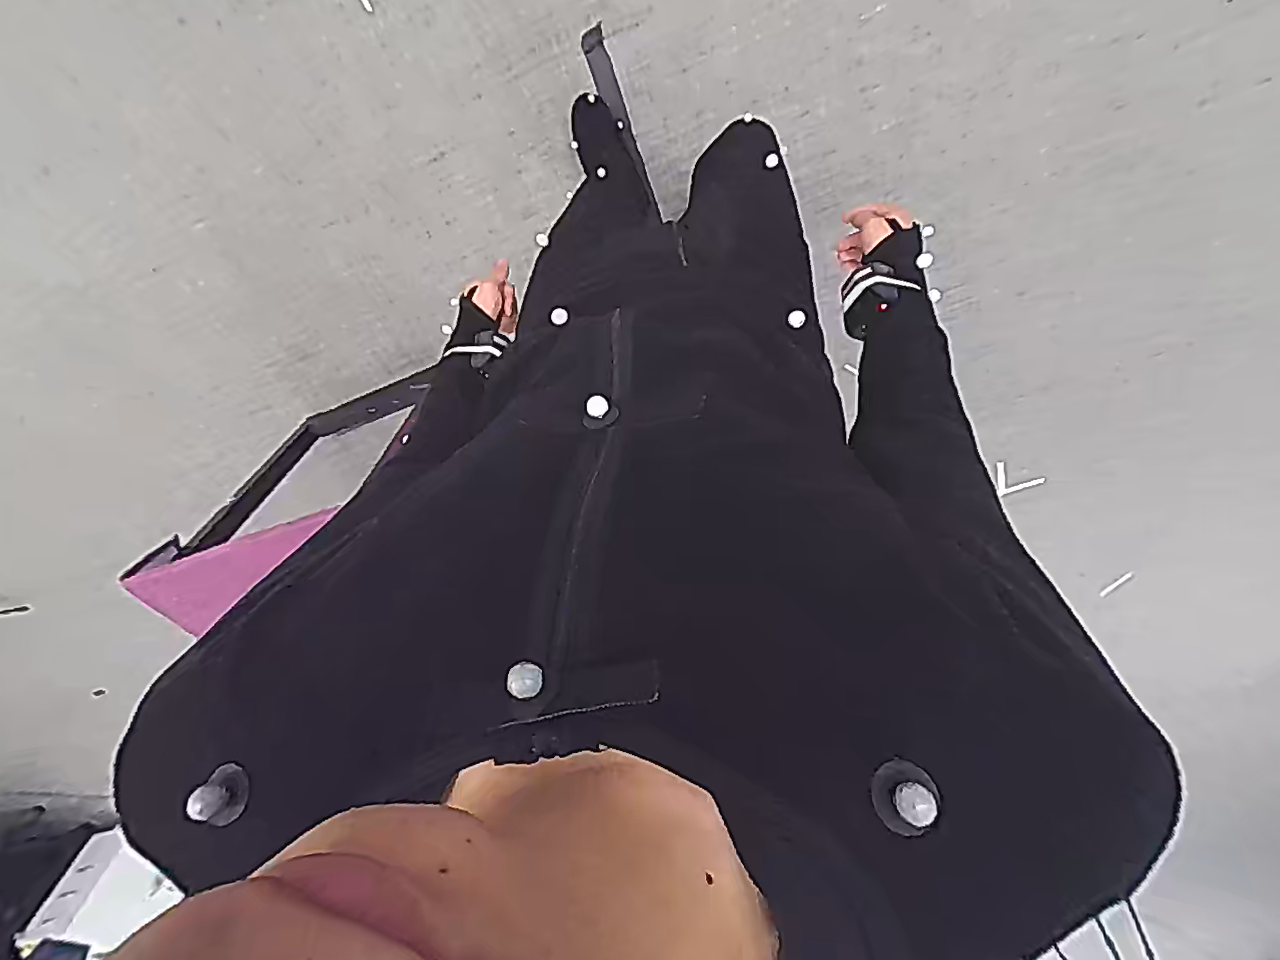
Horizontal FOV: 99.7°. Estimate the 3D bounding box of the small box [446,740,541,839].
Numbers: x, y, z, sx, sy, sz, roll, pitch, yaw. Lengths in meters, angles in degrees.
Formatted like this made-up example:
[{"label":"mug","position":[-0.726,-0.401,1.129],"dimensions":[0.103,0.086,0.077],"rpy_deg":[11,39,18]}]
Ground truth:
[{"label":"small box","position":[-0.395,0.851,1.490],"dimensions":[0.179,0.176,0.168],"rpy_deg":[-26,123,18]}]
